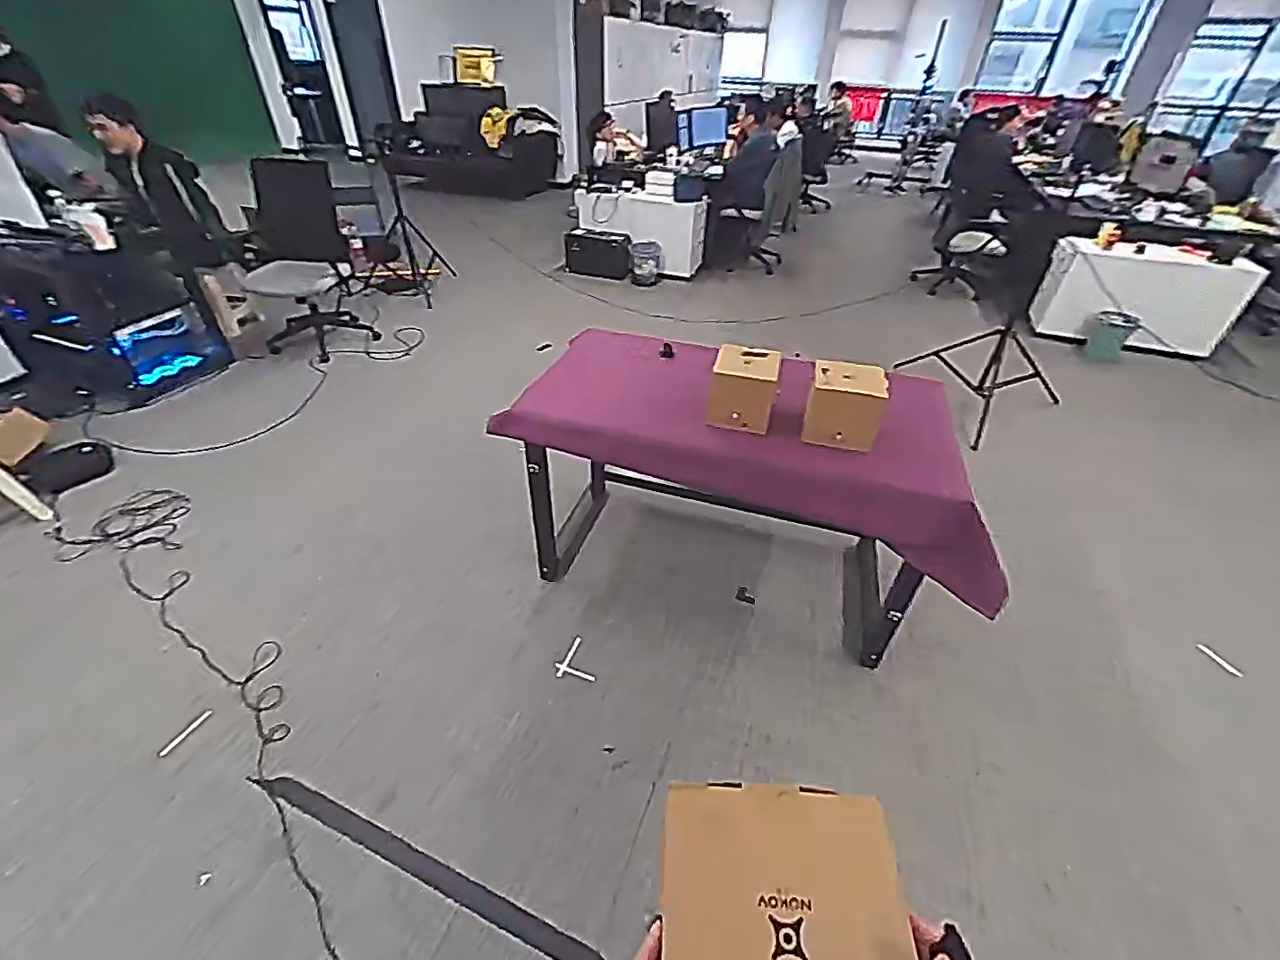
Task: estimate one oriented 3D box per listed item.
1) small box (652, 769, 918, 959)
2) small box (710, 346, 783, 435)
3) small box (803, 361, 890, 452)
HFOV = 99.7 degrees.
[{"bbox_3d":[0.094,0.346,0.410,0.168,0.176,0.179,2,44,3],"label":"small box"},{"bbox_3d":[0.291,-0.249,1.492,0.168,0.176,0.179,11,40,11],"label":"small box"},{"bbox_3d":[0.543,-0.194,1.434,0.179,0.176,0.168,11,39,11],"label":"small box"}]
